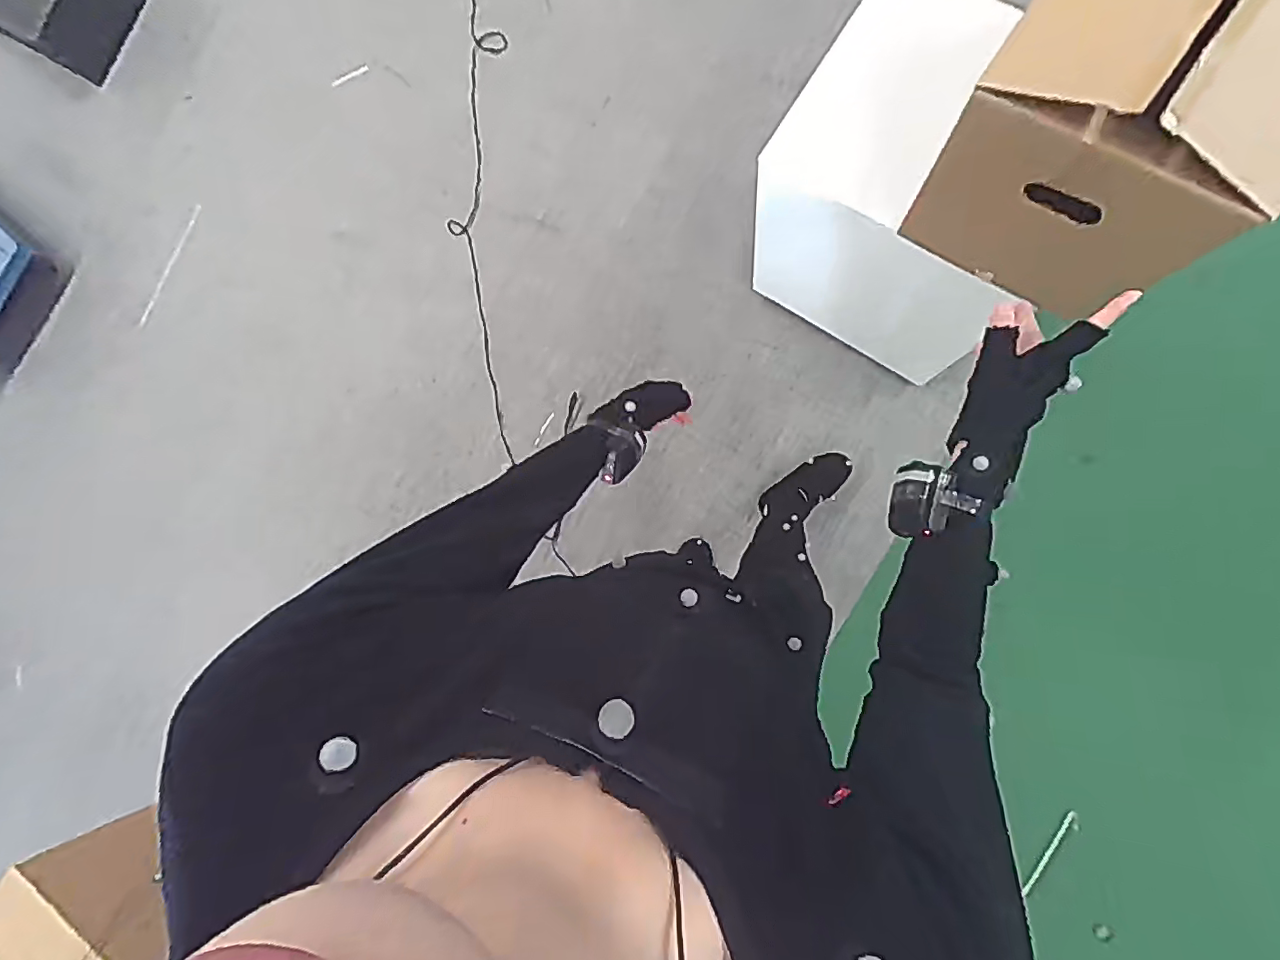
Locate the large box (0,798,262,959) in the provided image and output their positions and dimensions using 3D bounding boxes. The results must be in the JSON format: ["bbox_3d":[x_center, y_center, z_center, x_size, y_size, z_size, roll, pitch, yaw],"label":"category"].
[{"bbox_3d":[-1.200,1.032,1.230,0.408,0.320,0.320,31,88,11],"label":"large box"}]
